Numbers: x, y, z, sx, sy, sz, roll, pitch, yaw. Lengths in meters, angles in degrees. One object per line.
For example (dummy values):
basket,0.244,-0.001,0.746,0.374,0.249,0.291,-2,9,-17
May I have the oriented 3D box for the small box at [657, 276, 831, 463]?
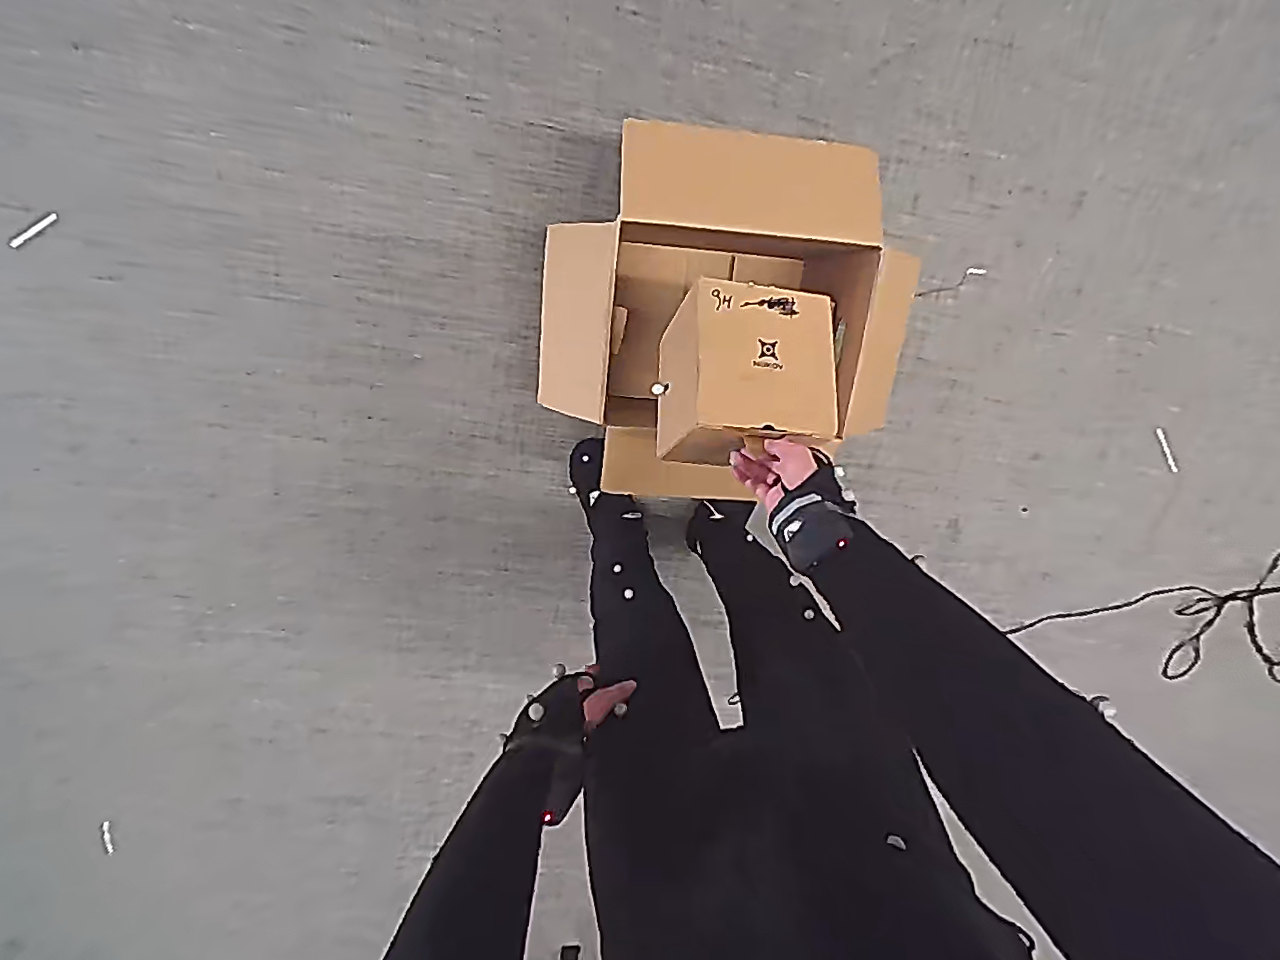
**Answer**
small box,0.122,-0.124,0.681,0.168,0.176,0.179,5,79,-12
